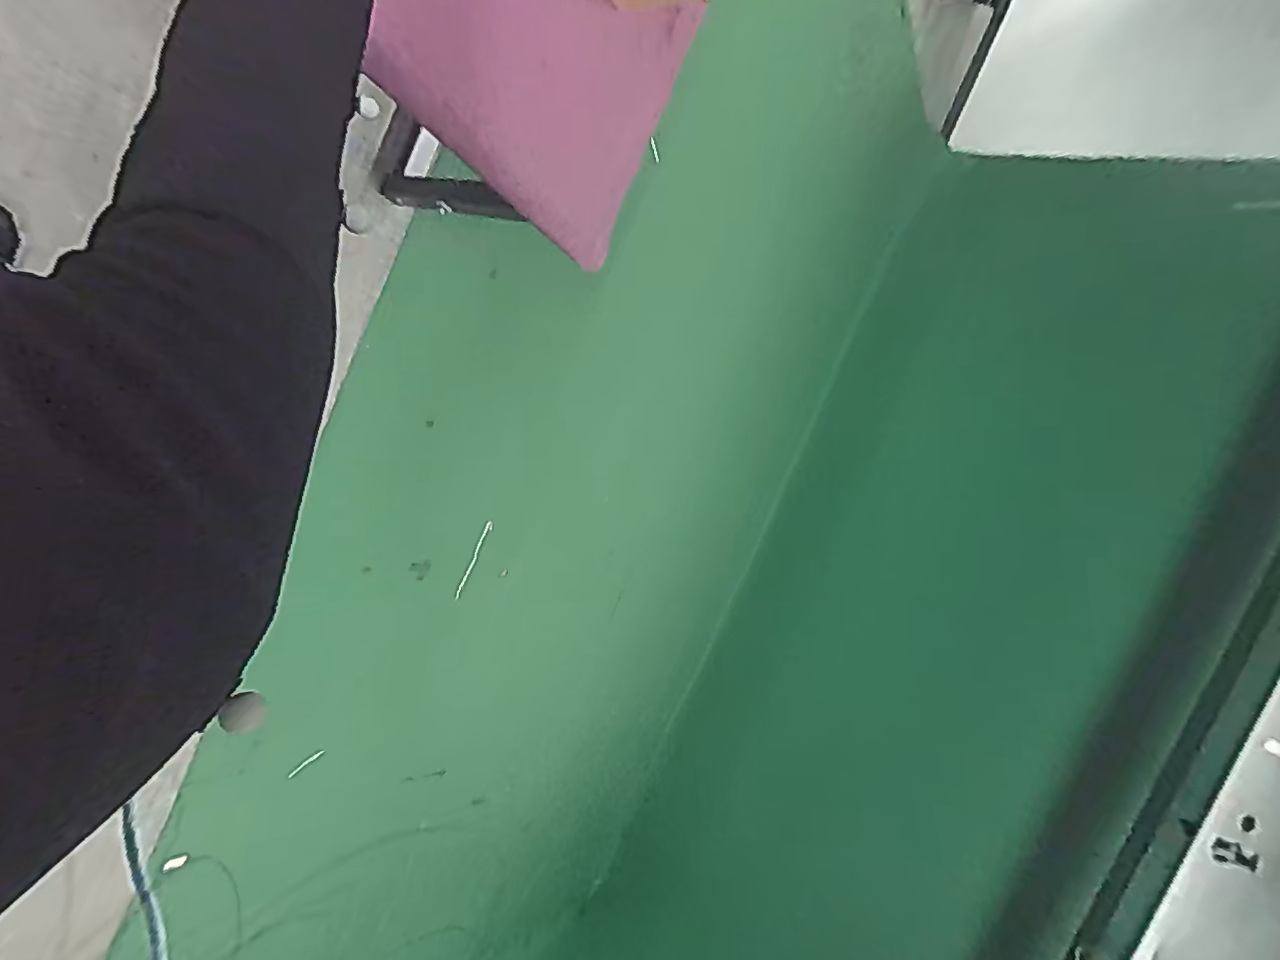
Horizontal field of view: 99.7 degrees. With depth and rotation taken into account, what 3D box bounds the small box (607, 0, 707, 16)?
[{"bbox_3d":[0.009,-0.768,0.716,0.168,0.176,0.179,5,106,-53],"label":"small box"}]
